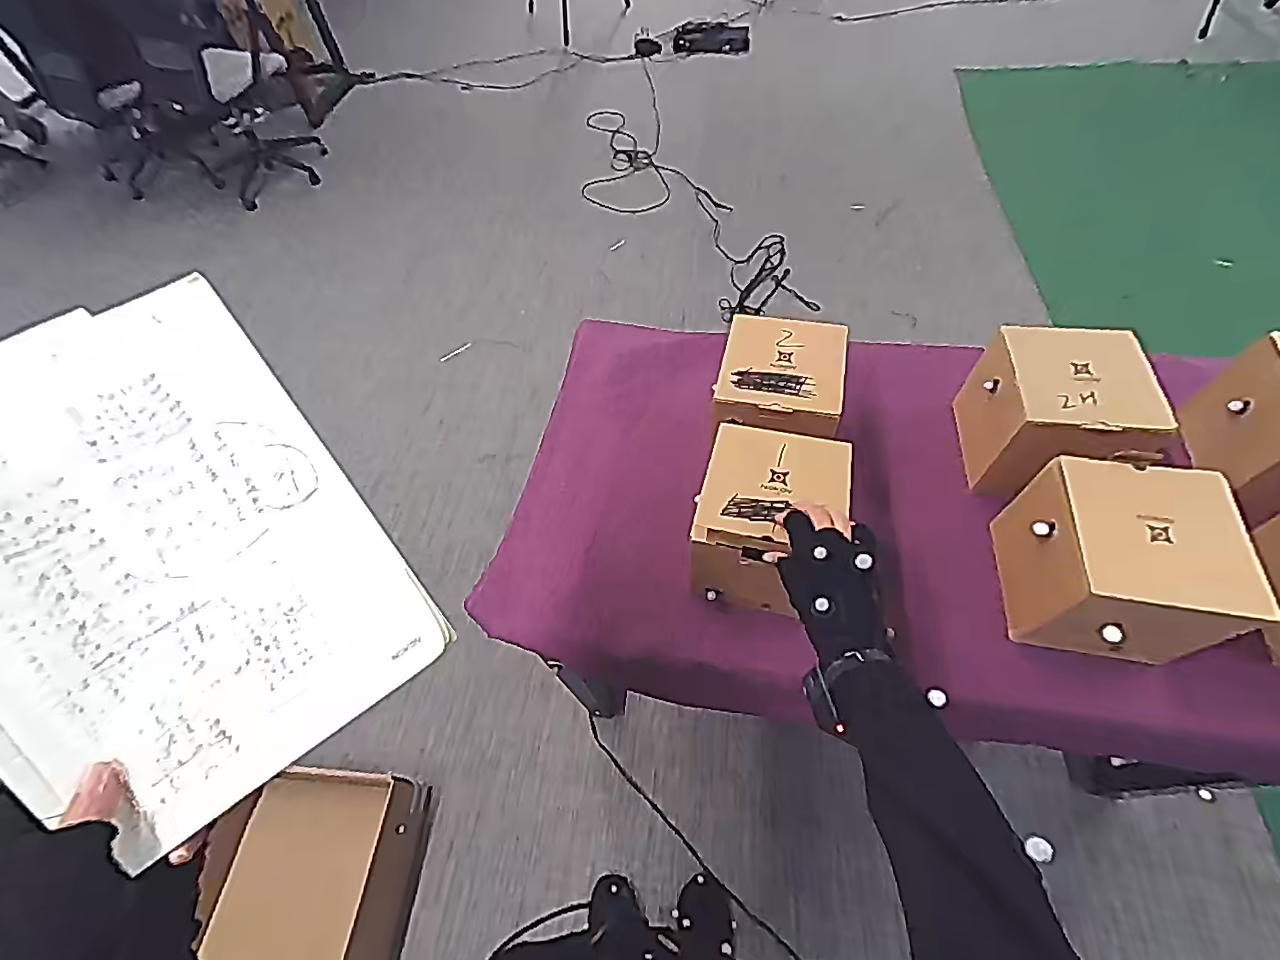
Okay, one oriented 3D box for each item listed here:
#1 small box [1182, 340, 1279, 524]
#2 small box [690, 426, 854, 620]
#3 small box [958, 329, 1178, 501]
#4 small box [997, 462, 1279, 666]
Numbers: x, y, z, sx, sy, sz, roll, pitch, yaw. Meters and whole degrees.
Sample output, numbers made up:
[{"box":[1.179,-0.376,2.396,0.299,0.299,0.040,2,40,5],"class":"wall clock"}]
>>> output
[{"box":[0.880,-0.055,0.711,0.168,0.176,0.179,9,58,12],"class":"small box"},{"box":[0.165,0.060,0.699,0.168,0.176,0.179,12,58,12],"class":"small box"},{"box":[0.571,-0.084,0.756,0.168,0.176,0.179,6,58,9],"class":"small box"},{"box":[0.554,0.104,0.637,0.168,0.176,0.179,8,59,11],"class":"small box"}]
